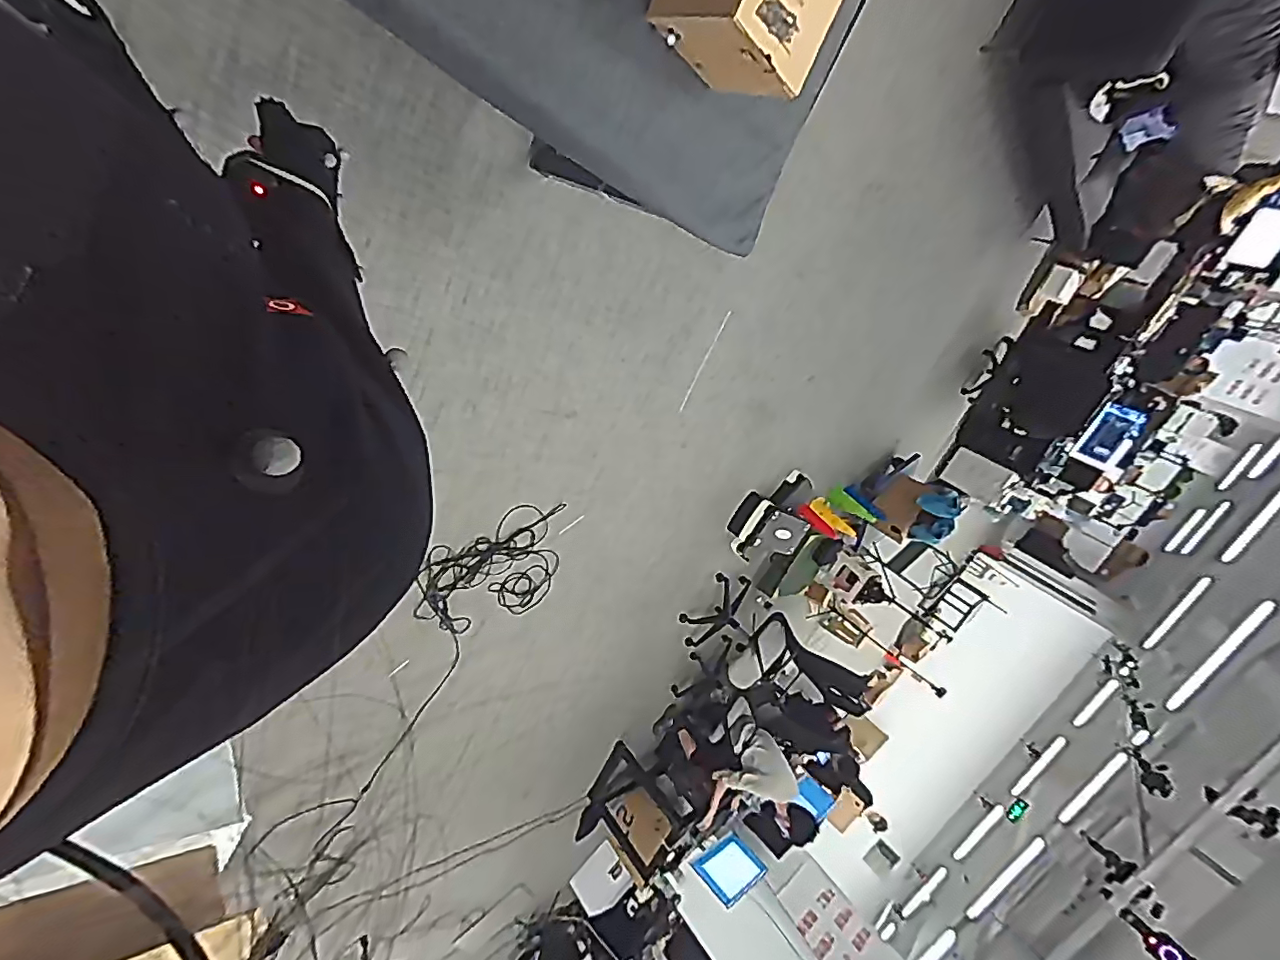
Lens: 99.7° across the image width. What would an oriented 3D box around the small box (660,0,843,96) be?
[{"bbox_3d":[0.150,-0.658,0.721,0.168,0.176,0.179,5,116,-49],"label":"small box"}]
